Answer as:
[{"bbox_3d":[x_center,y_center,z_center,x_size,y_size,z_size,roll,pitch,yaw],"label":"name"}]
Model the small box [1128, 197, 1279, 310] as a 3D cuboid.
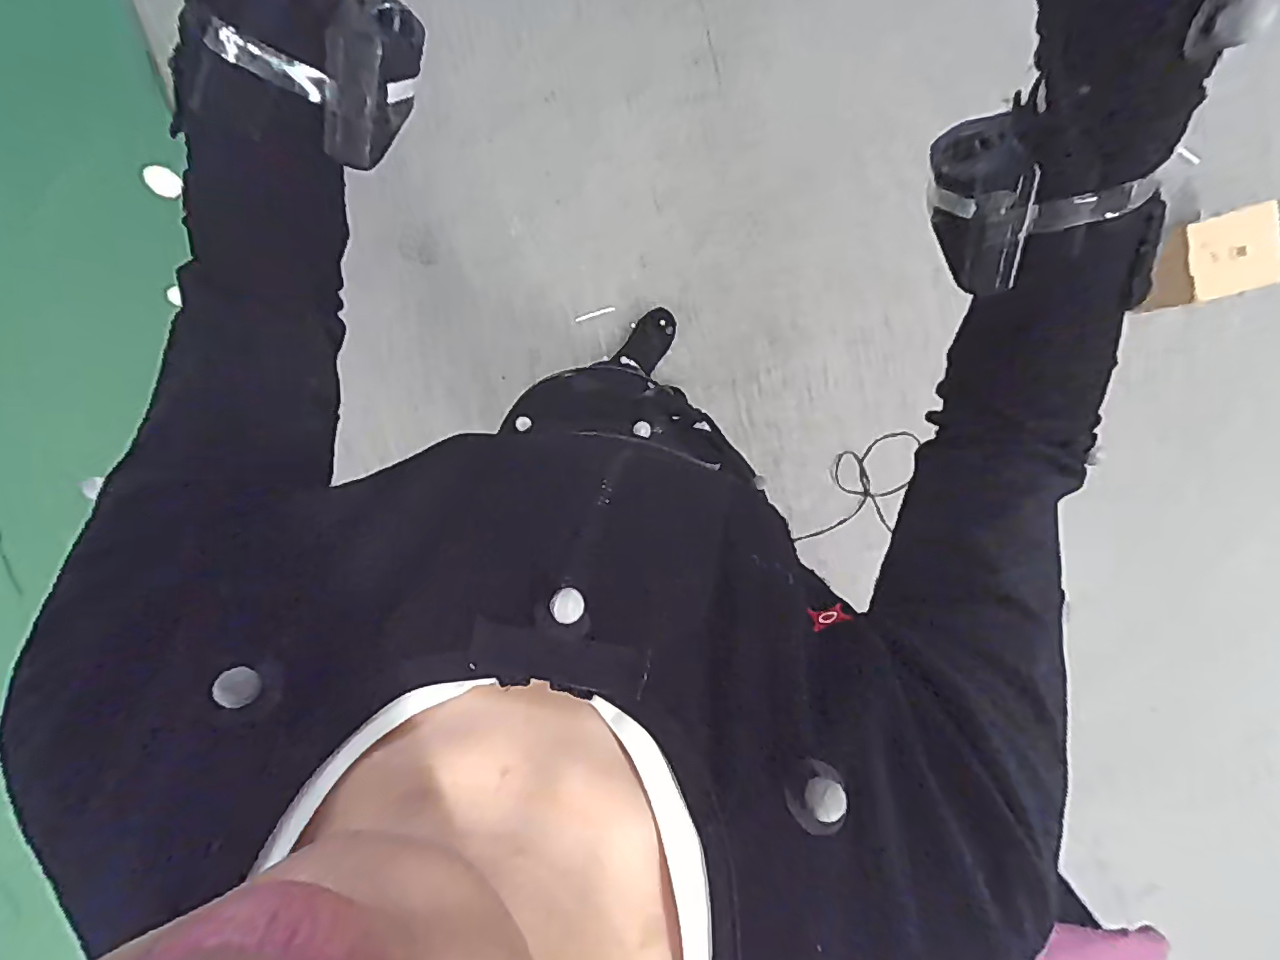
[{"bbox_3d":[1.249,-0.492,1.199,0.179,0.176,0.168,-15,97,8],"label":"small box"}]
